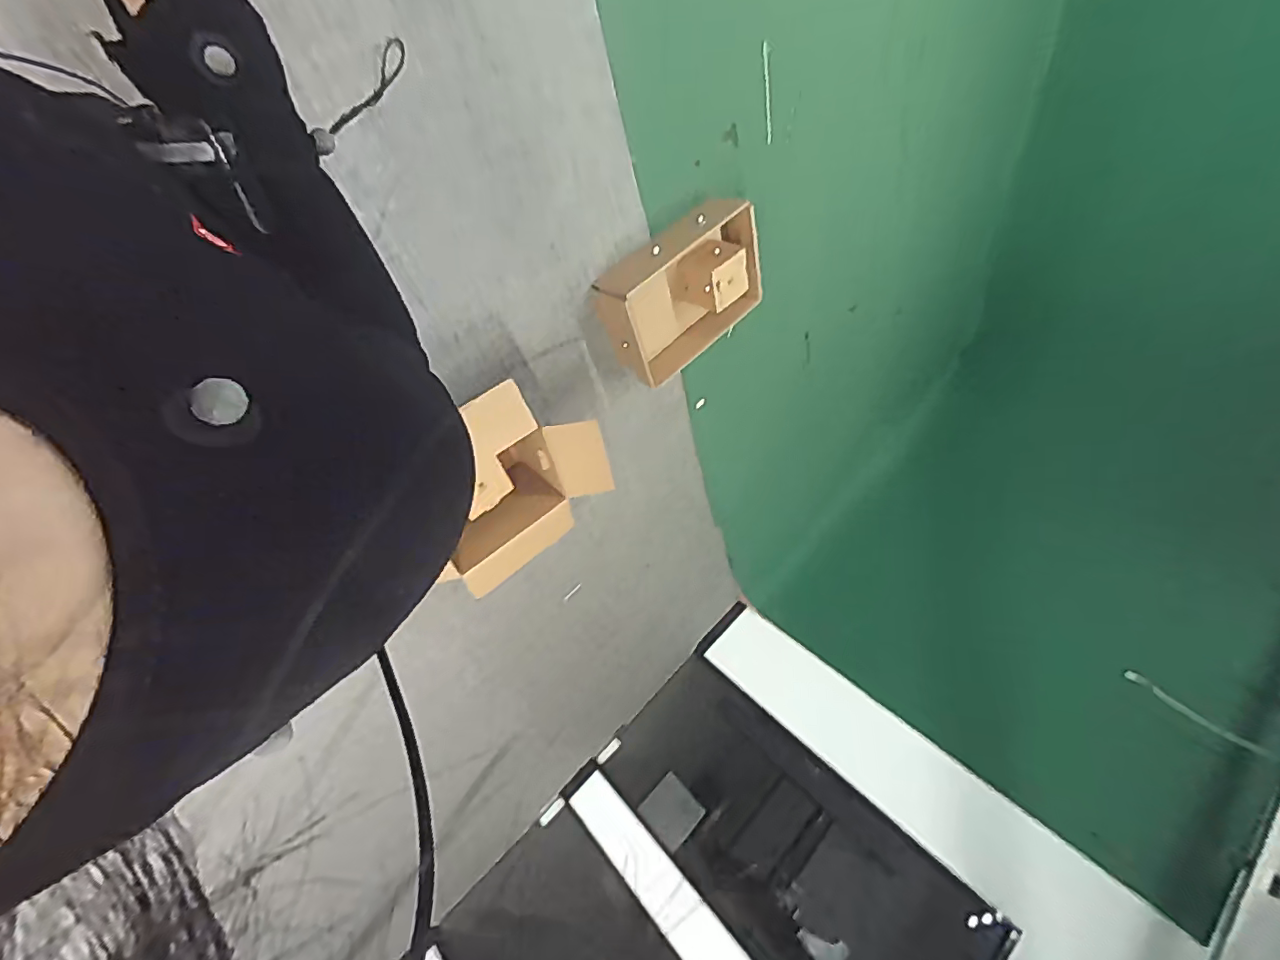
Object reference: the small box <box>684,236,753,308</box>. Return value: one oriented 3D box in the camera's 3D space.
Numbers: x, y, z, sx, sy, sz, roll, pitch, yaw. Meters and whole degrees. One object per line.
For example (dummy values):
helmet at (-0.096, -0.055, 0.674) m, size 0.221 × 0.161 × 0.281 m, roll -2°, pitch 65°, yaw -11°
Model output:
small box at (0.284, -0.758, 1.957) m, size 0.179 × 0.176 × 0.168 m, roll -41°, pitch 141°, yaw -17°

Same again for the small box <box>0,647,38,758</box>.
small box at (-1.125, 0.373, 0.859) m, size 0.168 × 0.176 × 0.179 m, roll -54°, pitch 142°, yaw -5°
